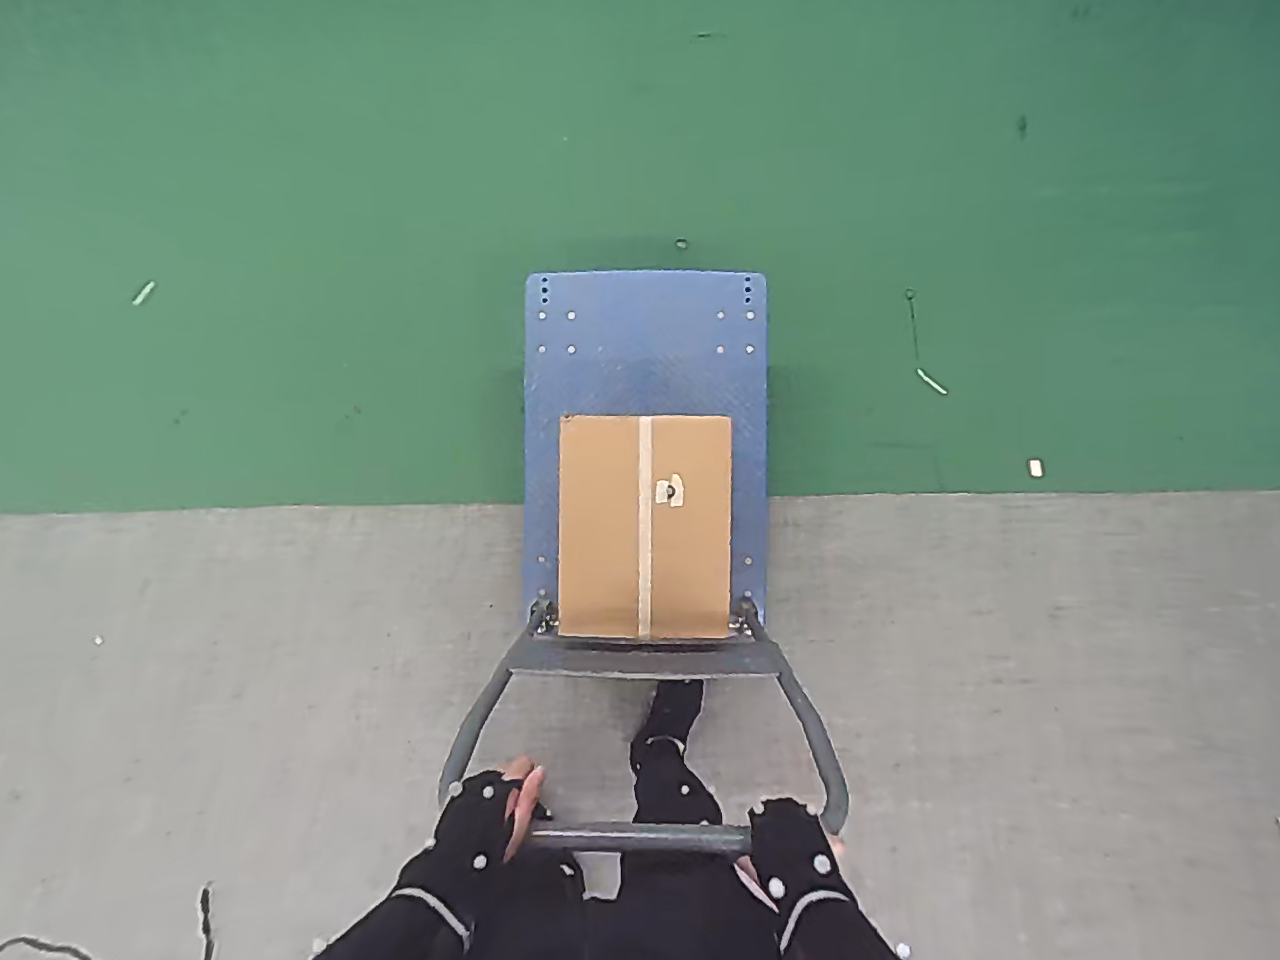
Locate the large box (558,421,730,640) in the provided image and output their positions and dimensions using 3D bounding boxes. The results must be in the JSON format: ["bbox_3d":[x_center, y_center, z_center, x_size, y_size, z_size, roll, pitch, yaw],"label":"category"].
[{"bbox_3d":[0.012,0.095,1.132,0.320,0.320,0.408,0,89,1],"label":"large box"}]
